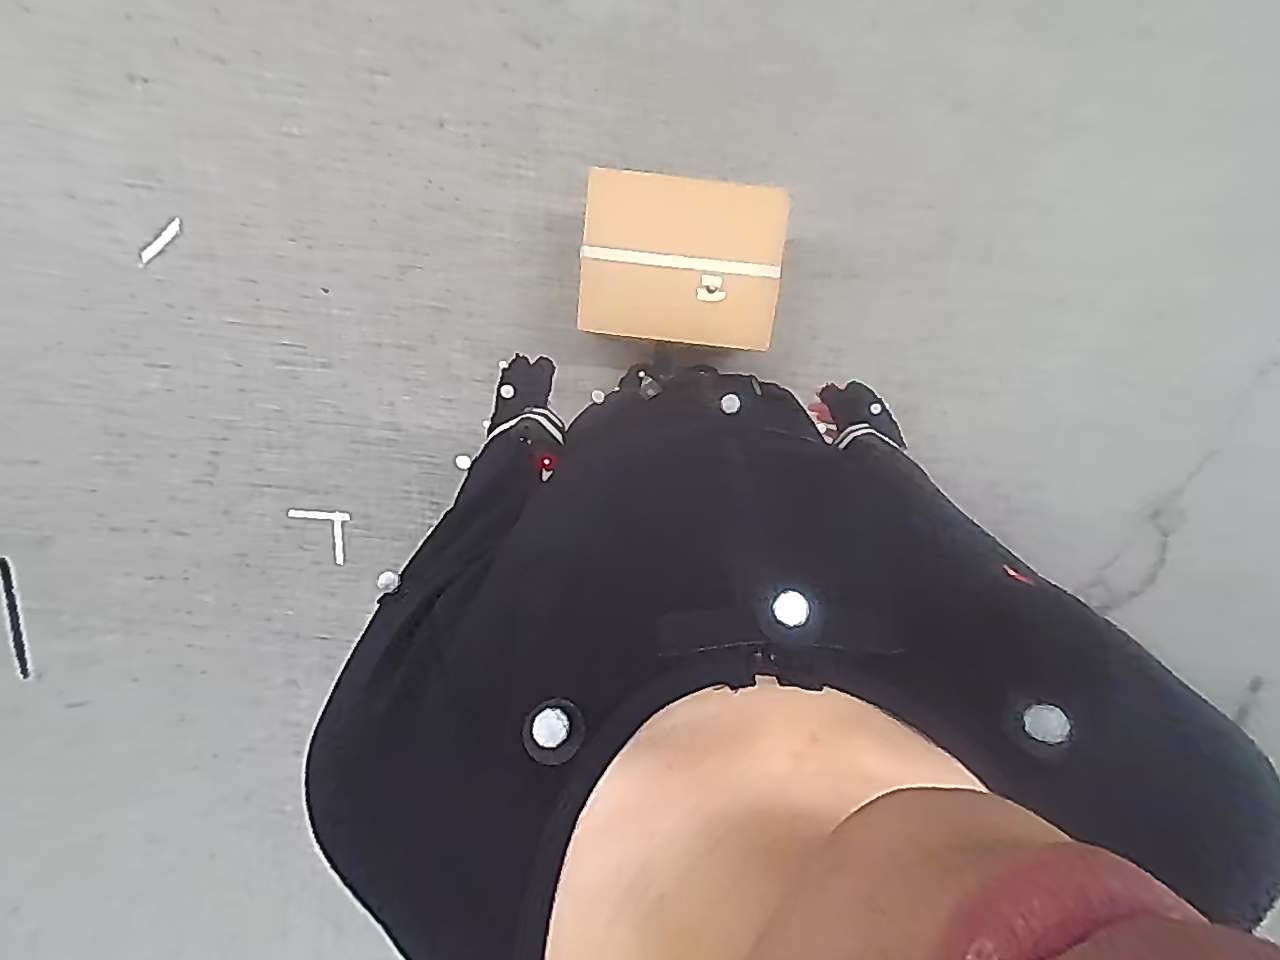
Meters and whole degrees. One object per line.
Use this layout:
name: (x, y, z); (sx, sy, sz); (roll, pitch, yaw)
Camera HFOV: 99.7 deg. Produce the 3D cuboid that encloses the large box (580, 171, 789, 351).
large box: (0.082, -0.471, 1.238); (0.408, 0.320, 0.320); (6, 103, -2)
